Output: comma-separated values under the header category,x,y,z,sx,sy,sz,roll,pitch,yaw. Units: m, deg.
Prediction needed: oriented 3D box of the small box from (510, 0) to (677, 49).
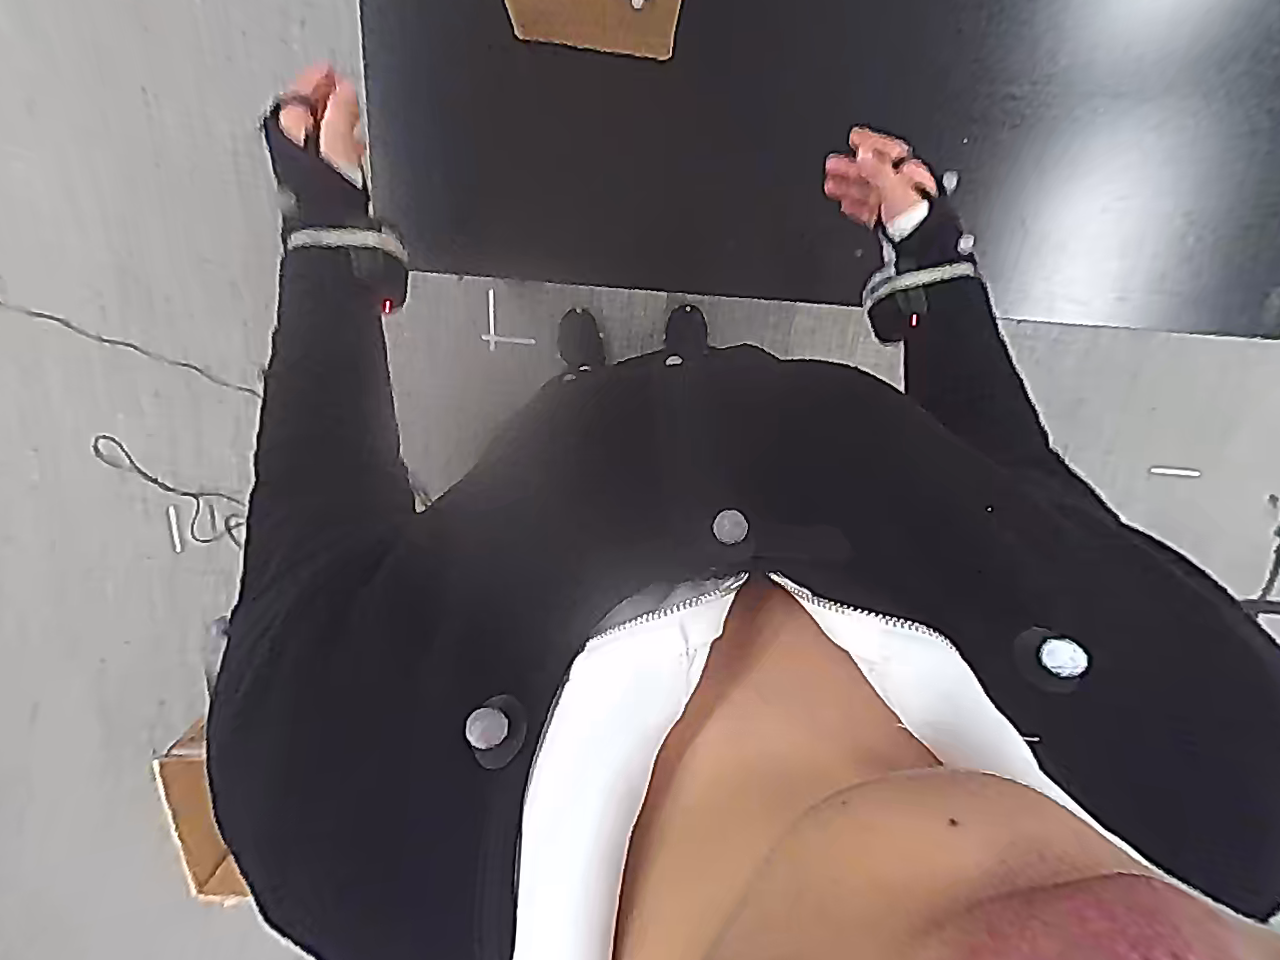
category,x,y,z,sx,sy,sz,roll,pitch,yaw
small box,-0.042,-0.547,0.510,0.179,0.176,0.168,5,108,-5
